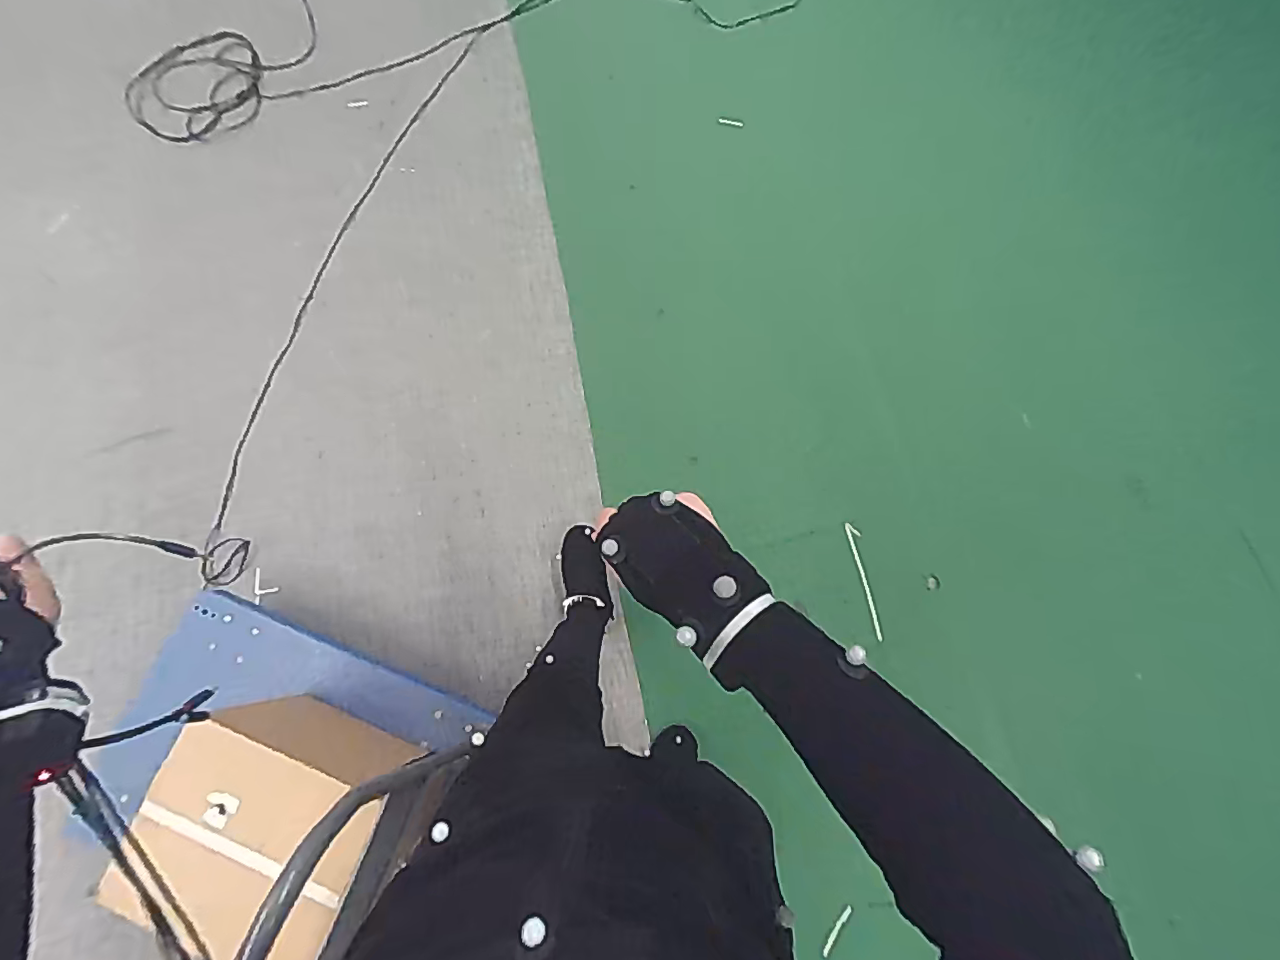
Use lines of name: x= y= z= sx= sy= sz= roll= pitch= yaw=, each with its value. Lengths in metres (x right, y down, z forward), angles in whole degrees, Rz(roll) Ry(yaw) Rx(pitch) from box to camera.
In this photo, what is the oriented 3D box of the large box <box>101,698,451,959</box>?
large box: x=-0.657 y=0.664 z=1.053 sx=0.408 sy=0.320 sz=0.320 roll=20 pitch=75 yaw=8
